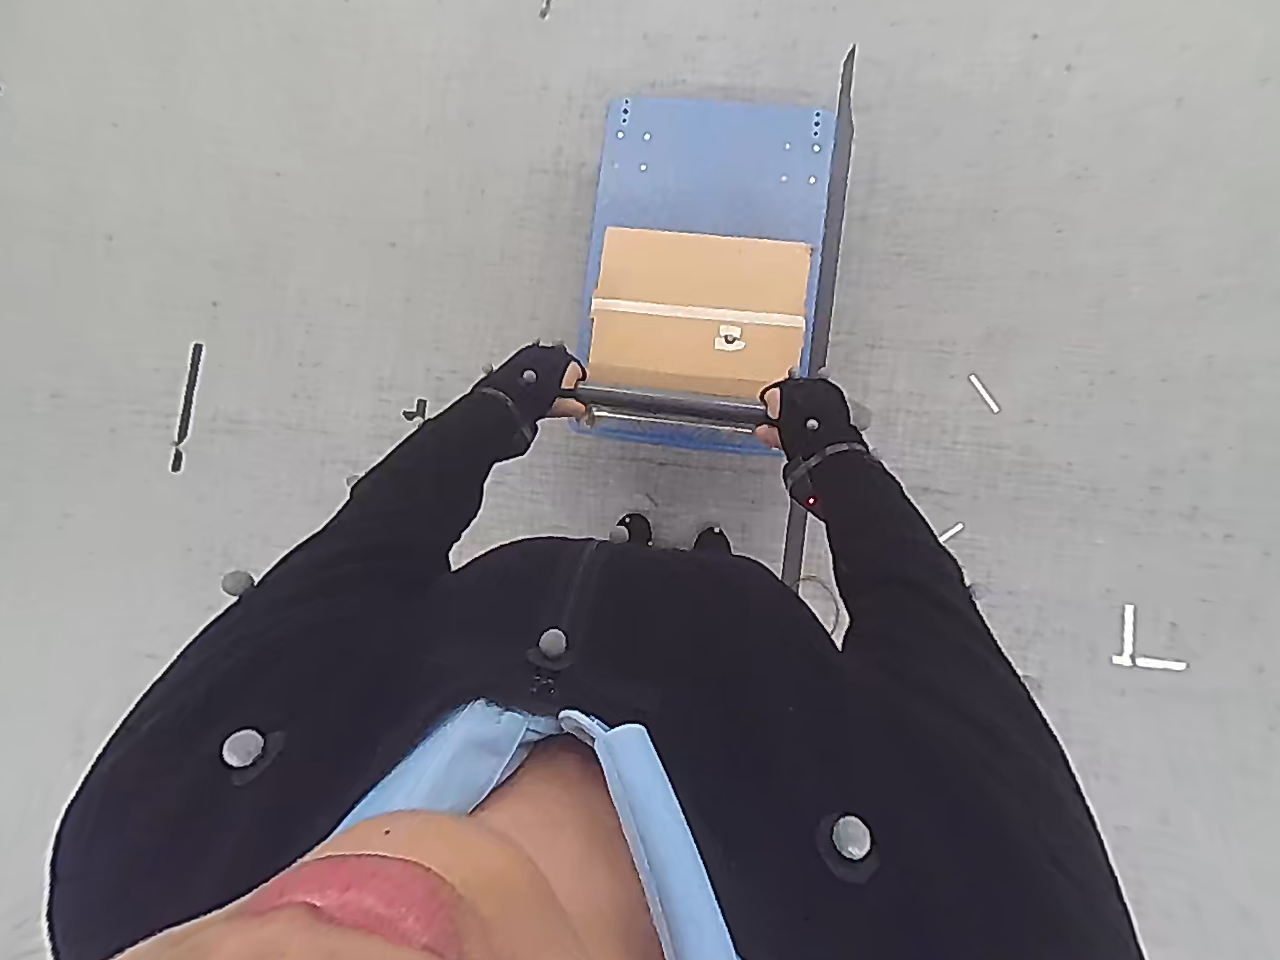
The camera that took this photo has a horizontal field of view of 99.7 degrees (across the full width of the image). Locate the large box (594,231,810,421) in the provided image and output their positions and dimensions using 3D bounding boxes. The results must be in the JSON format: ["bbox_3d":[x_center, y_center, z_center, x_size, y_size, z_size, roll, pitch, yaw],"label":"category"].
[{"bbox_3d":[0.126,-0.320,1.207,0.408,0.320,0.320,7,89,4],"label":"large box"}]
